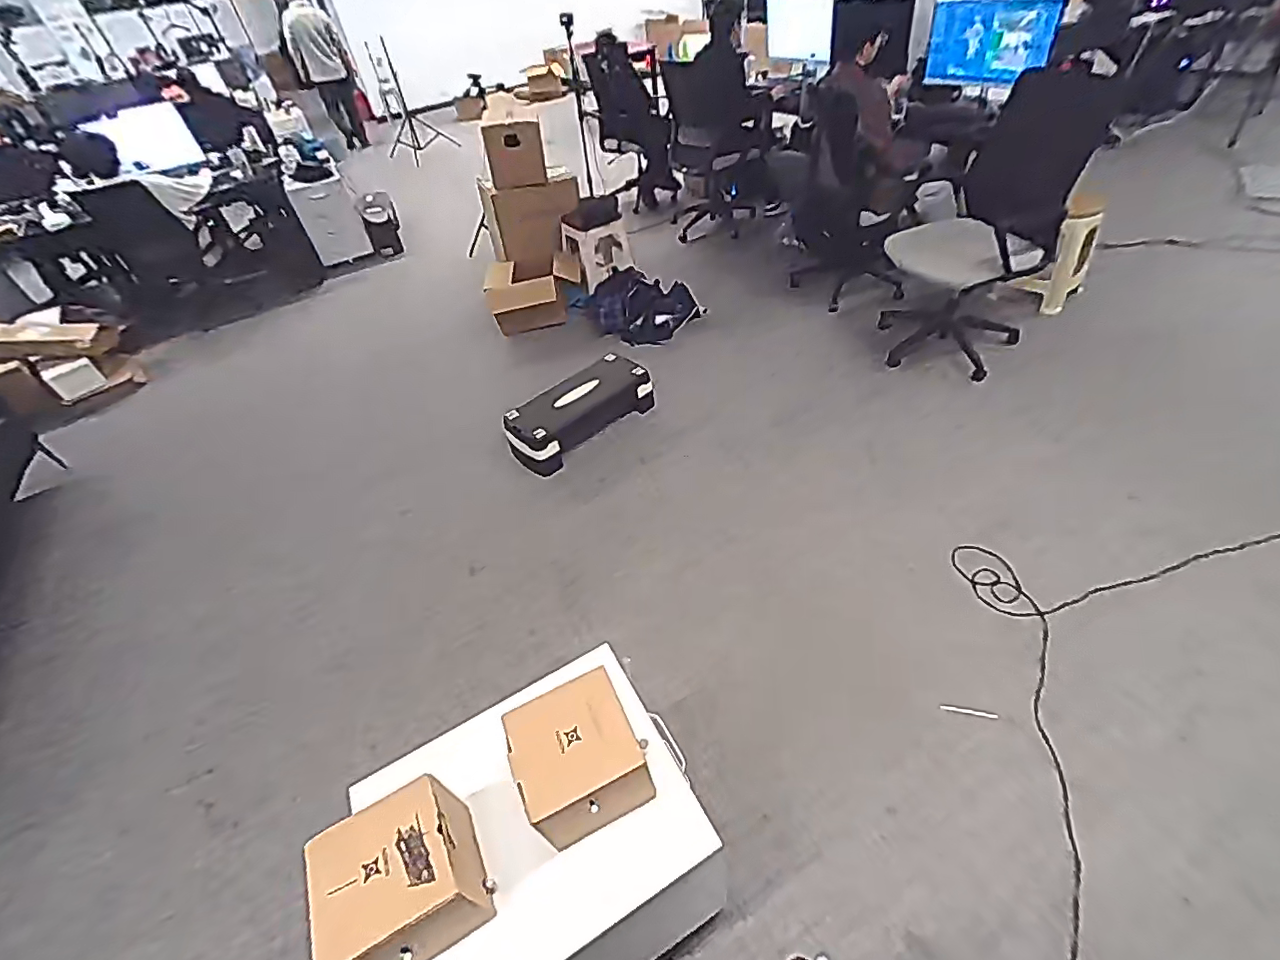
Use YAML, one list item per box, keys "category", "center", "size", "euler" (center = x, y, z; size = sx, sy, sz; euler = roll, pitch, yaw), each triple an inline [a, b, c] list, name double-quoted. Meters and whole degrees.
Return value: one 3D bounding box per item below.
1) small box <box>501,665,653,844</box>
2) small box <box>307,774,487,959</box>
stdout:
- category: "small box"
  center: [-0.094, 0.432, 0.849]
  size: [0.179, 0.176, 0.168]
  euler: [-22, 47, -13]
- category: "small box"
  center: [-0.330, 0.558, 0.759]
  size: [0.179, 0.176, 0.168]
  euler: [-25, 46, -15]
